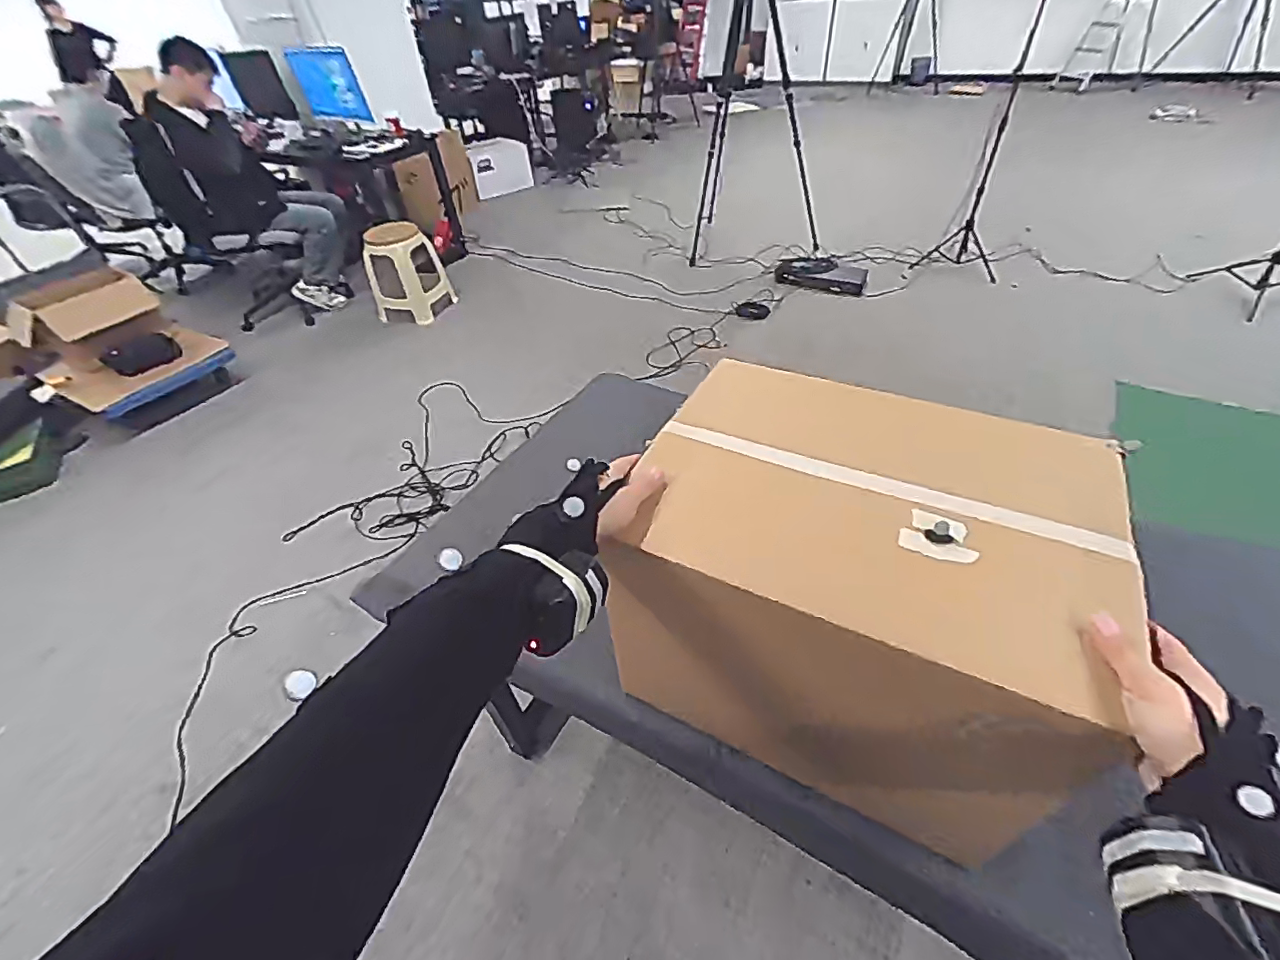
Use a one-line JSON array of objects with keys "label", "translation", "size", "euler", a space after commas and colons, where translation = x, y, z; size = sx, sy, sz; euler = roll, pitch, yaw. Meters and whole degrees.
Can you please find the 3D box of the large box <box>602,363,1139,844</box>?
[{"label": "large box", "translation": [0.212, 0.110, 0.605], "size": [0.408, 0.320, 0.320], "euler": [18, 48, 22]}]
